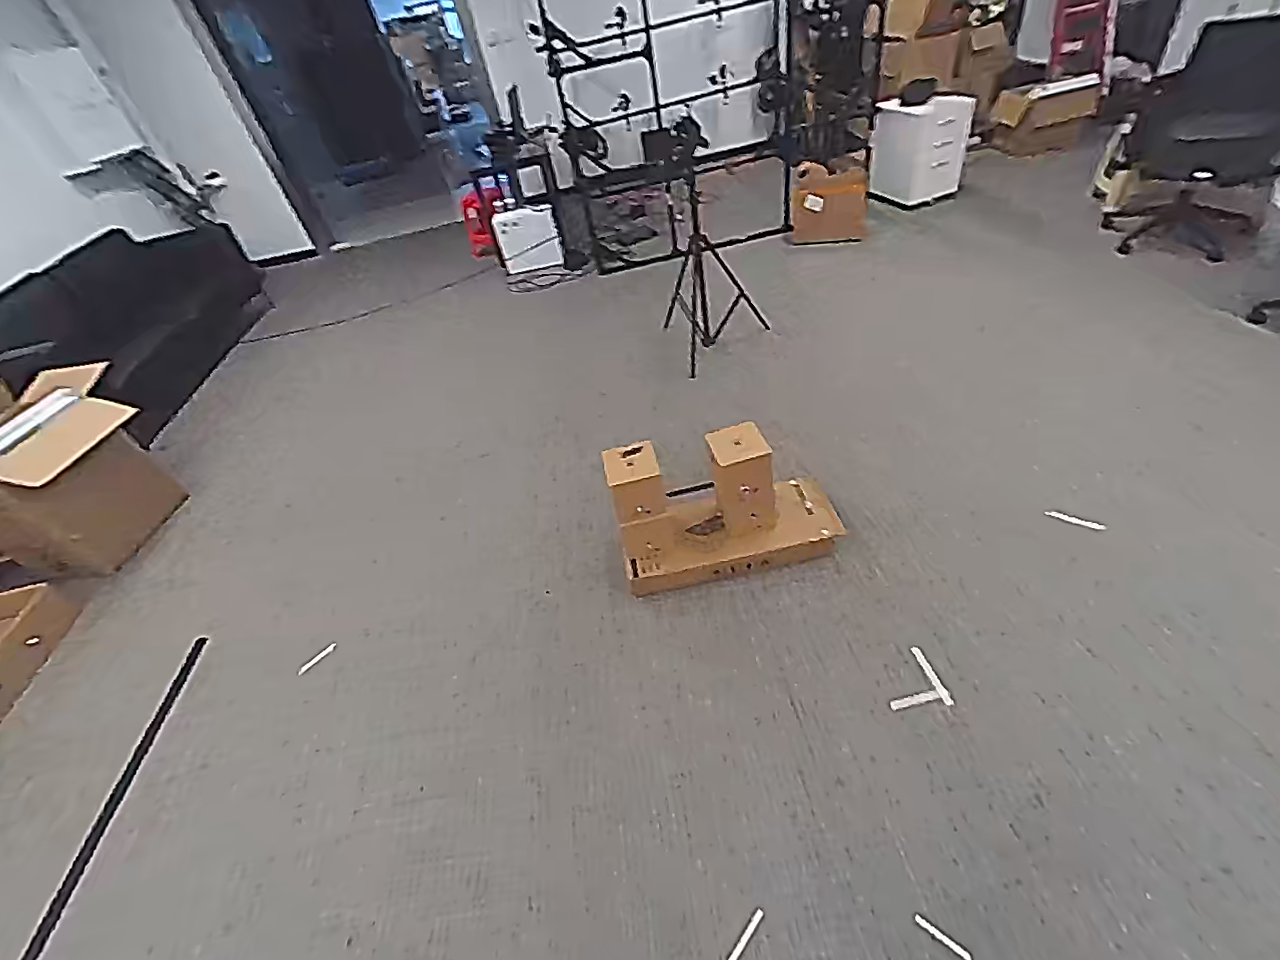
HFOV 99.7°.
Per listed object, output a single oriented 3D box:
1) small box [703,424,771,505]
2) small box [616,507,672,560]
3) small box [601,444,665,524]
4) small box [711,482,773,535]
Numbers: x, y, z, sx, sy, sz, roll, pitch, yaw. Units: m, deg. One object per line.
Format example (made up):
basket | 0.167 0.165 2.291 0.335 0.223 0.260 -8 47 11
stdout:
small box | 0.312 -0.049 1.742 0.168 0.176 0.179 -17 42 -3
small box | 0.009 0.145 1.847 0.168 0.176 0.179 -13 41 0
small box | -0.022 0.015 1.751 0.168 0.176 0.179 -14 41 -2
small box | 0.349 0.070 1.848 0.168 0.176 0.179 -14 42 -2
